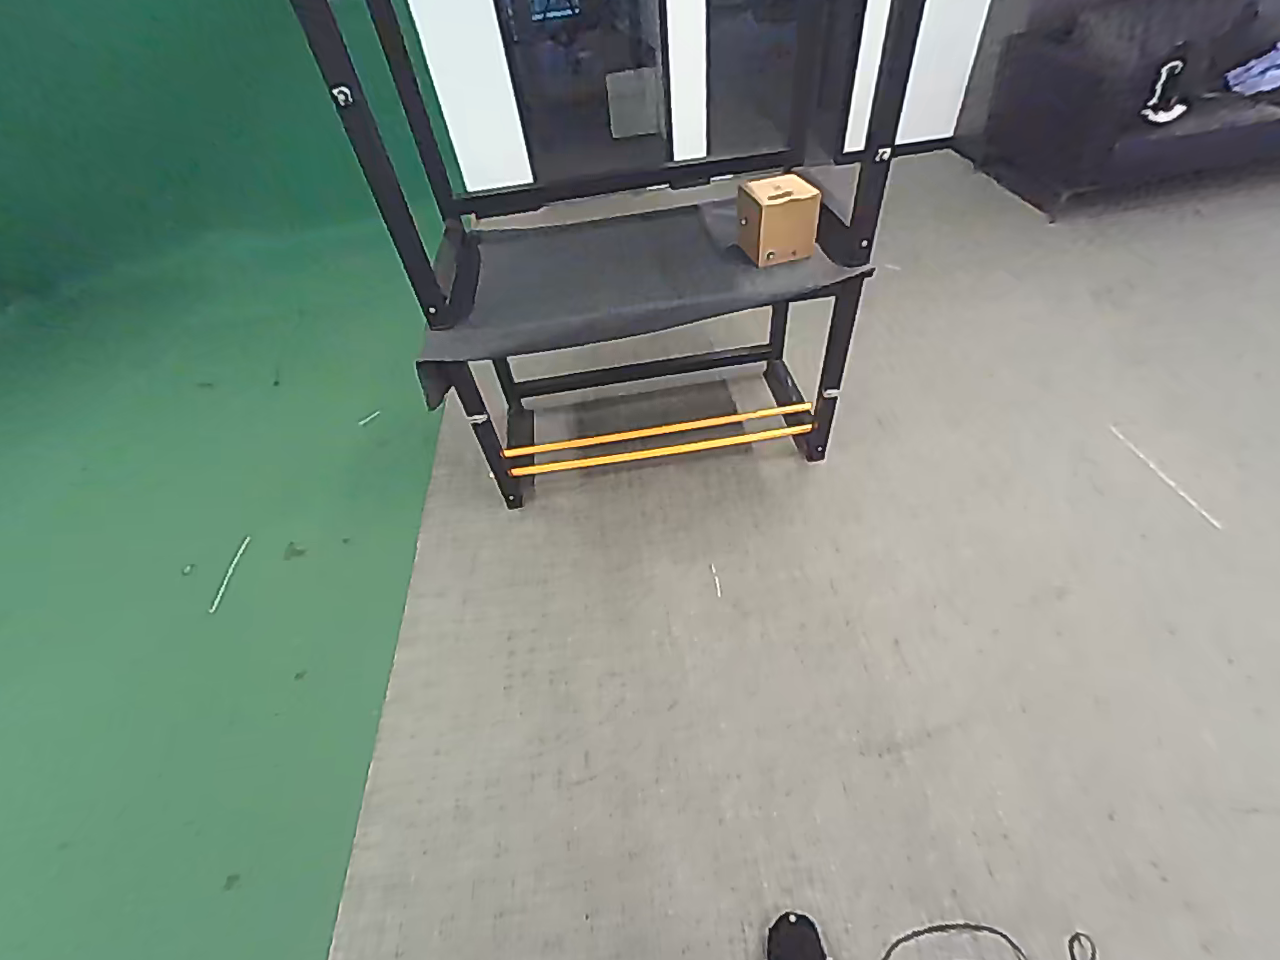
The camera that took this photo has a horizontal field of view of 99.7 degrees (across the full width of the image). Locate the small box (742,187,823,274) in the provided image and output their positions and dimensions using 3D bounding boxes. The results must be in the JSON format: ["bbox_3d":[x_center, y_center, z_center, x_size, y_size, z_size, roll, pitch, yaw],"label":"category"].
[{"bbox_3d":[0.395,-0.698,1.527,0.168,0.176,0.179,-13,45,-5],"label":"small box"}]
